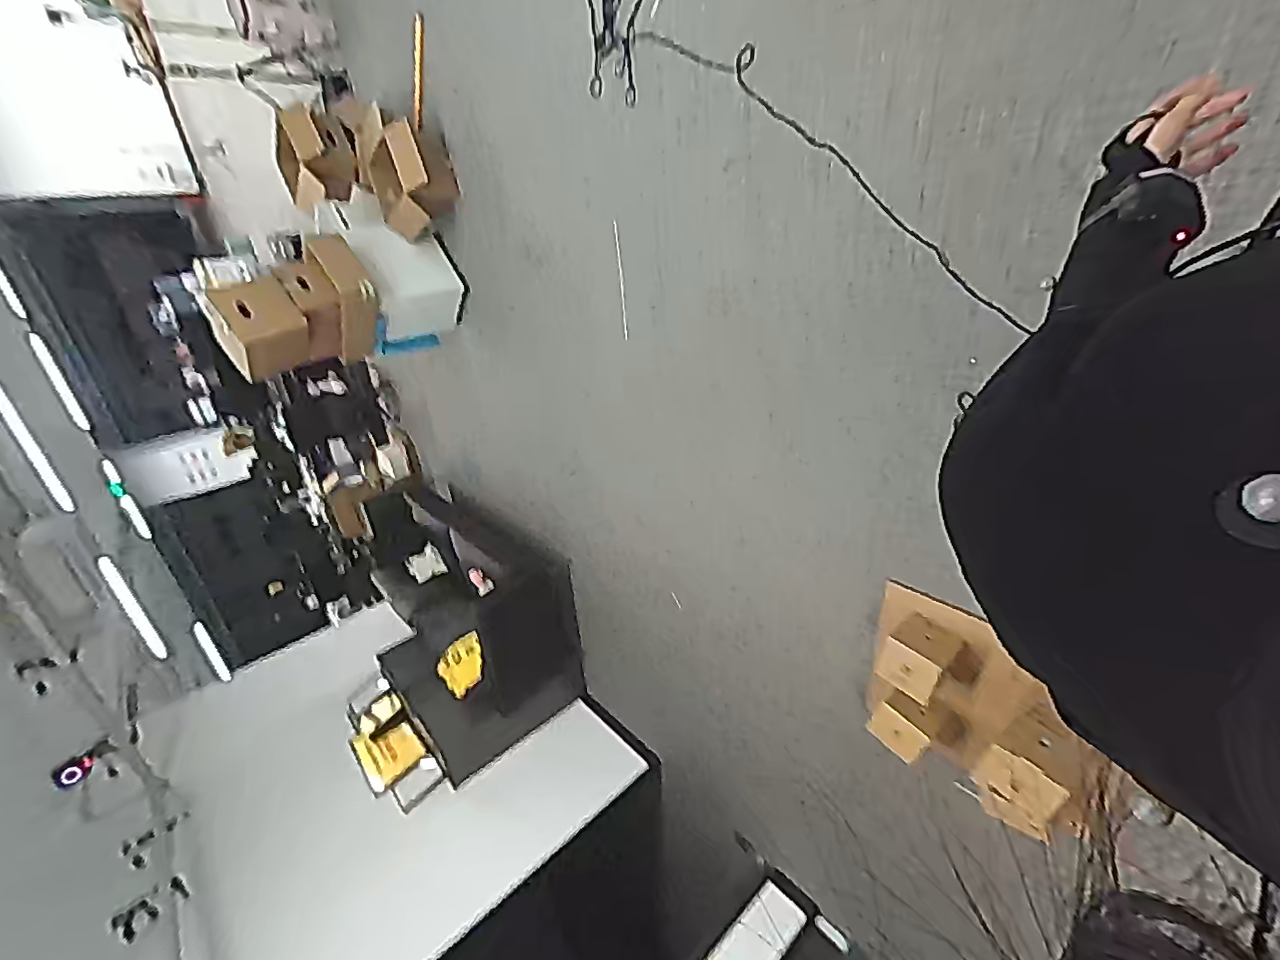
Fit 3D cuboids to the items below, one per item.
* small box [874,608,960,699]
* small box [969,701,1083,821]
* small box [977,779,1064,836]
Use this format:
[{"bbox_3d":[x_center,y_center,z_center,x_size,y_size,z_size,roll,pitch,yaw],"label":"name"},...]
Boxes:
[{"bbox_3d":[0.867,0.534,1.690,0.168,0.176,0.179,32,134,39],"label":"small box"},{"bbox_3d":[0.977,0.701,1.367,0.168,0.176,0.179,33,134,39],"label":"small box"},{"bbox_3d":[1.116,0.878,1.583,0.179,0.176,0.168,7,115,52],"label":"small box"}]
